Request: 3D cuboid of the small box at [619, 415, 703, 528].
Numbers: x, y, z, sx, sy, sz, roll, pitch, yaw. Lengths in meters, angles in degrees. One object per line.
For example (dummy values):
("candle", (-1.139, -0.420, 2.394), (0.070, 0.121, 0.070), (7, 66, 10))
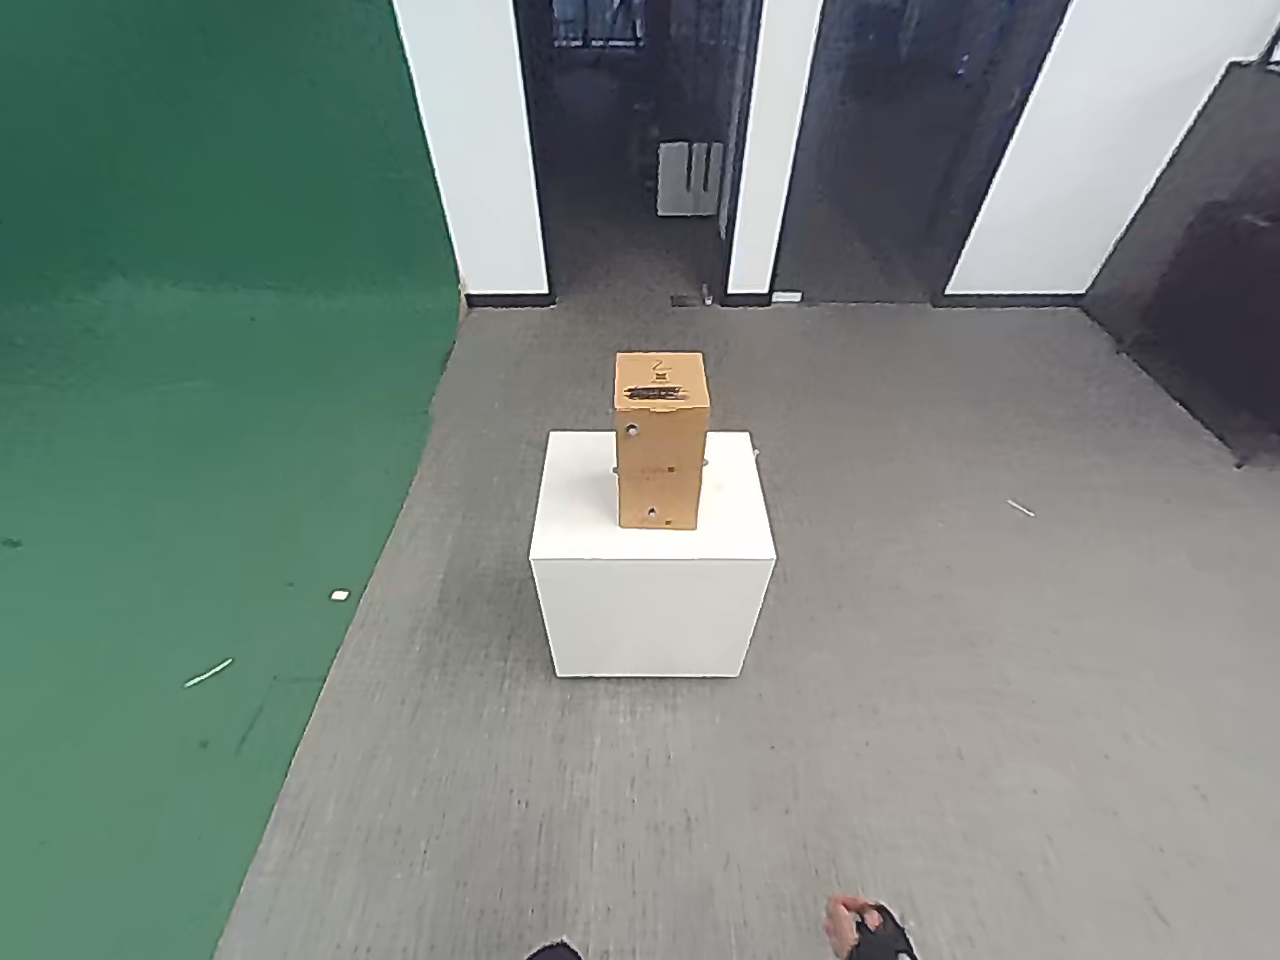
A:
("small box", (0.041, -0.020, 1.155), (0.168, 0.176, 0.179), (1, 45, 1))
